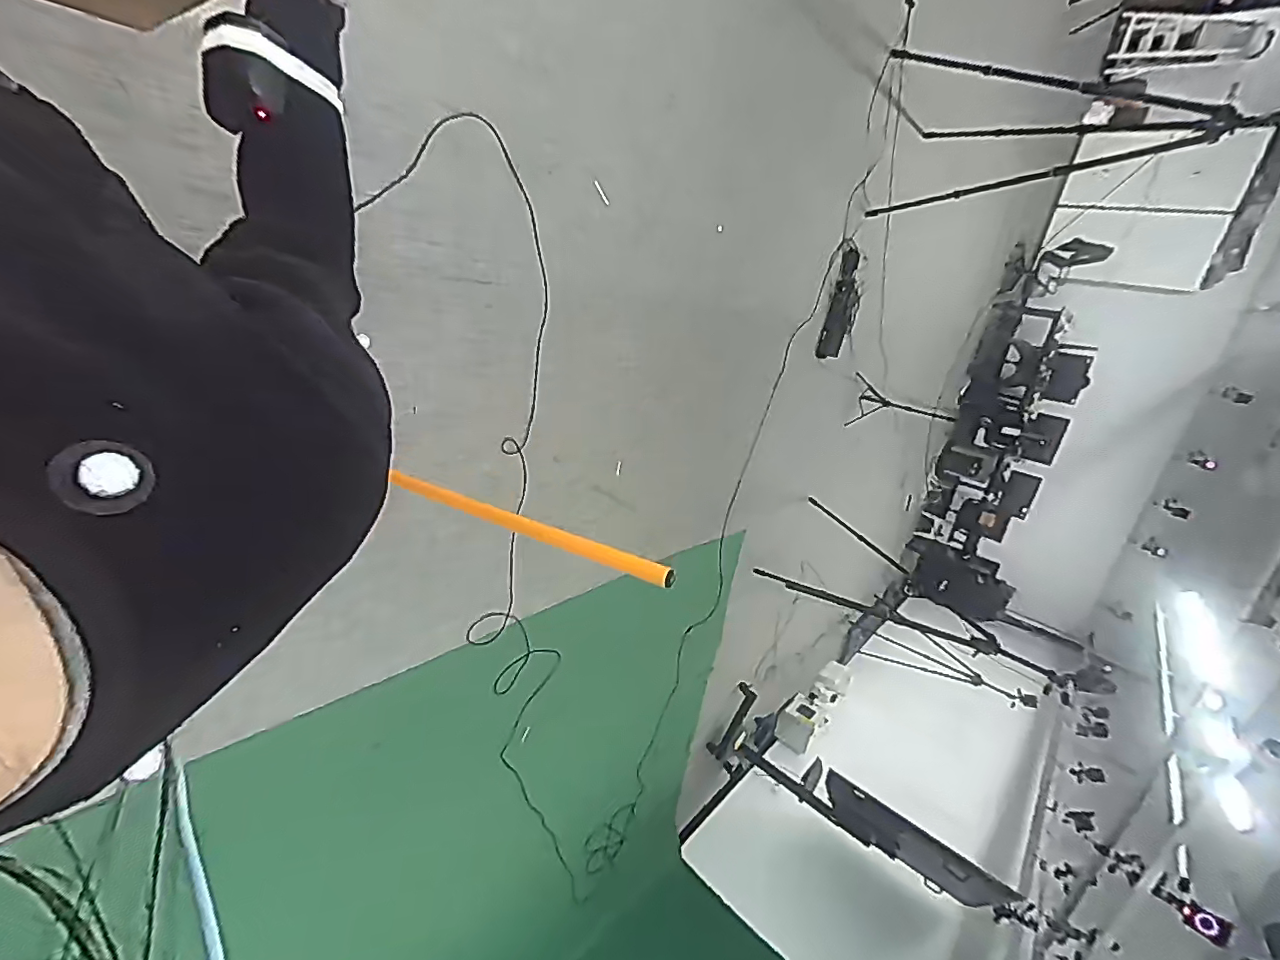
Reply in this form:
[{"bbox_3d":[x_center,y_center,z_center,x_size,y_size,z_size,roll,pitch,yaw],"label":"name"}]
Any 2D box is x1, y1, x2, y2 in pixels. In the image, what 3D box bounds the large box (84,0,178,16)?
[{"bbox_3d":[-0.498,-0.515,0.271,0.408,0.320,0.320,-17,122,-48],"label":"large box"}]
